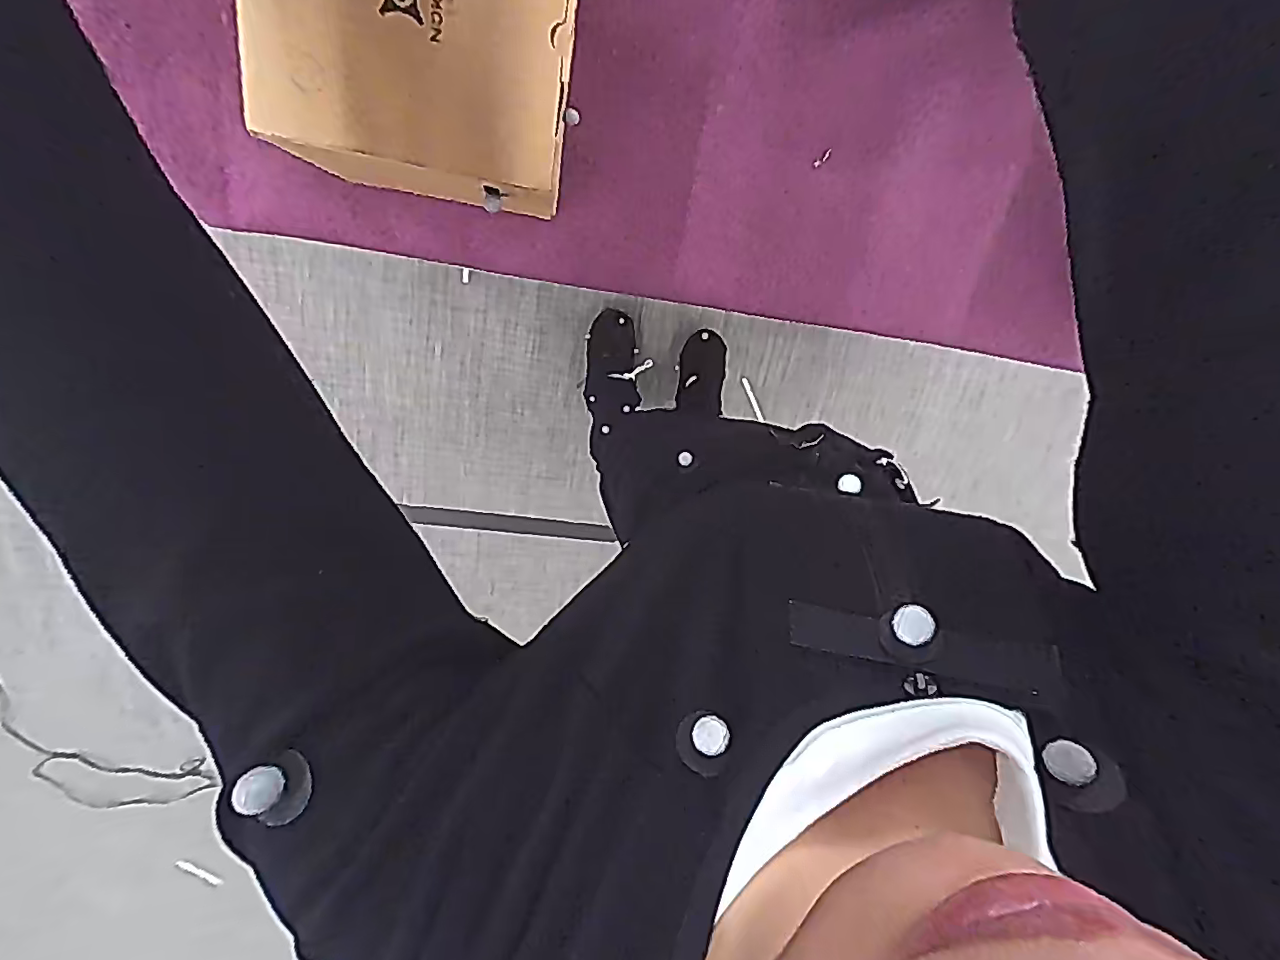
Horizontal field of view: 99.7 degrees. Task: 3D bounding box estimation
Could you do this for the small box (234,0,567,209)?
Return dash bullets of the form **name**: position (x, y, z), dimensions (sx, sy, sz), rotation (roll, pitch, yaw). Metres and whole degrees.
- **small box**: position (-0.145, -0.298, 0.378), dimensions (0.179, 0.176, 0.168), rotation (5, 110, -12)
